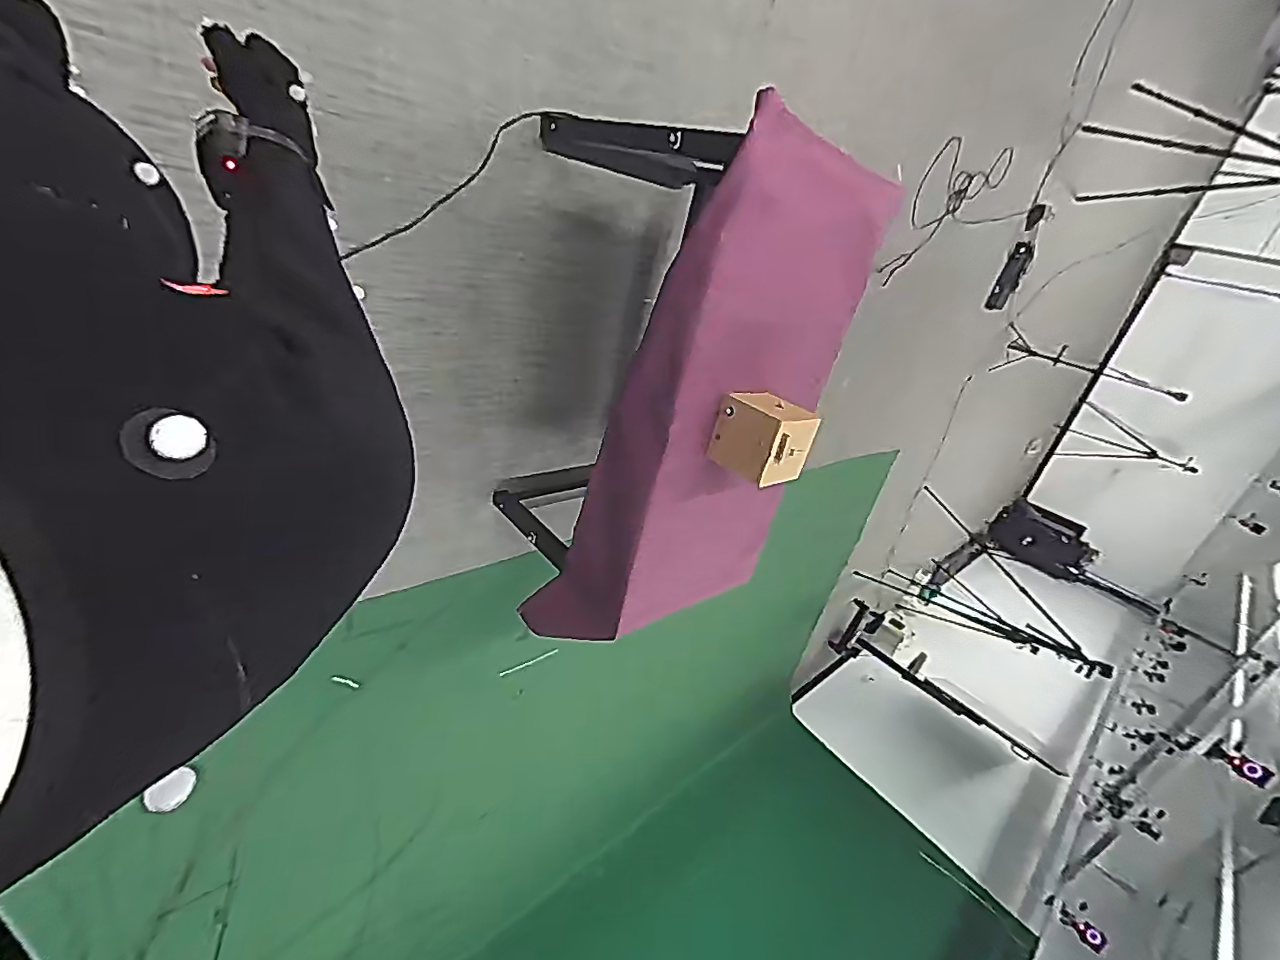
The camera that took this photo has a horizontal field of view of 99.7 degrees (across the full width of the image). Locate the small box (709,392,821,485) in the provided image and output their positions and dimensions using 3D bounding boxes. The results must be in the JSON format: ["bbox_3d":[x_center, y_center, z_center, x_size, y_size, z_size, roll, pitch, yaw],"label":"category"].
[{"bbox_3d":[0.293,-0.104,1.296,0.179,0.176,0.168,-10,124,-43],"label":"small box"}]
